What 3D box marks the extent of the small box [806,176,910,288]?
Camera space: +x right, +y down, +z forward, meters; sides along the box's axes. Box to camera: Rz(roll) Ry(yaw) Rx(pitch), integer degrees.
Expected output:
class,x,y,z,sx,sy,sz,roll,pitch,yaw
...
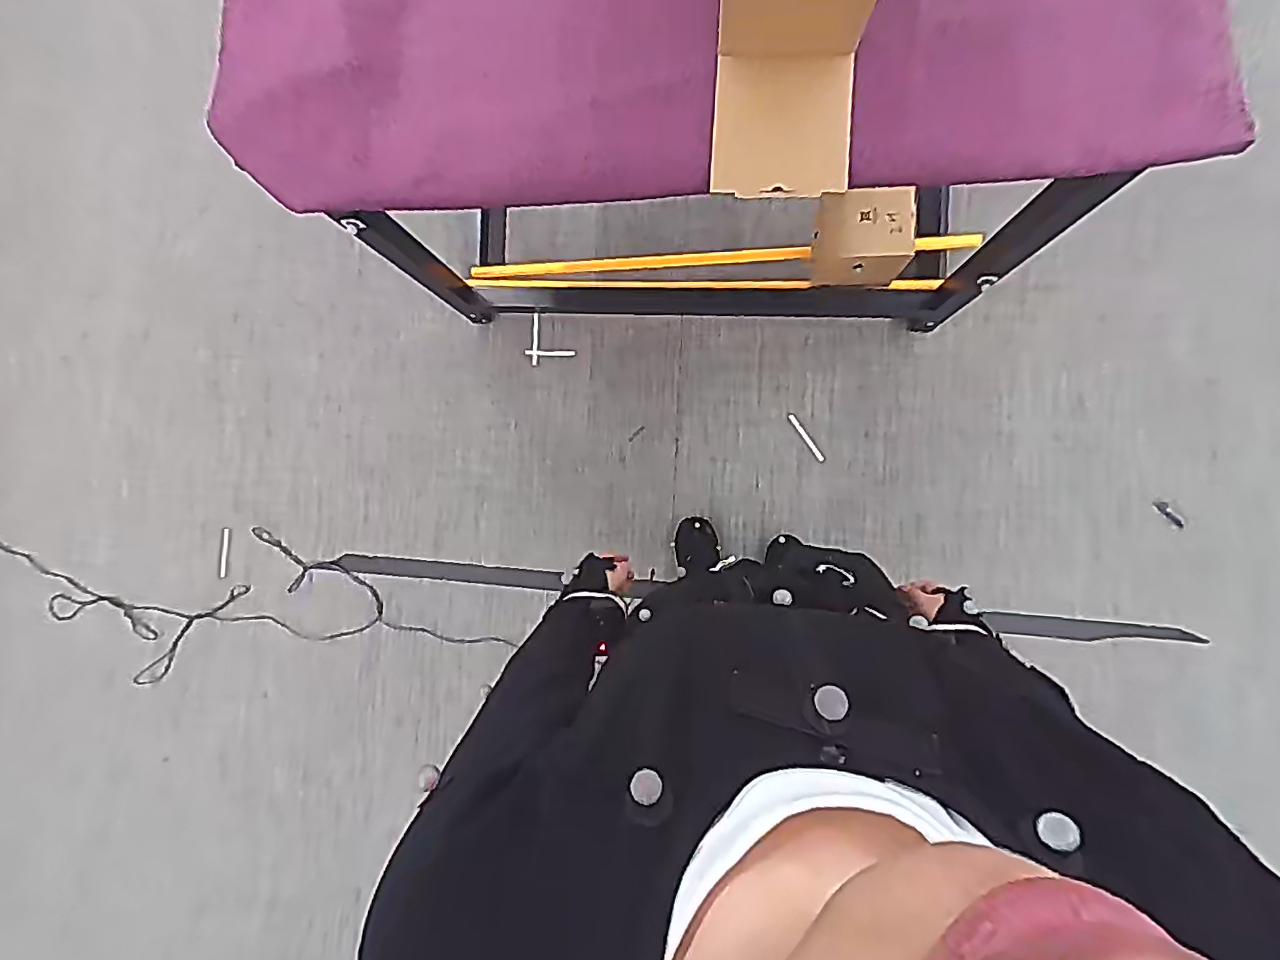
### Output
class,x,y,z,sx,sy,sz,roll,pitch,yaw
small box,0.459,-0.524,1.163,0.179,0.176,0.168,1,89,7

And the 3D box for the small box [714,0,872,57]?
class,x,y,z,sx,sy,sz,roll,pitch,yaw
small box,0.166,-0.590,0.563,0.168,0.179,0.176,4,96,6
